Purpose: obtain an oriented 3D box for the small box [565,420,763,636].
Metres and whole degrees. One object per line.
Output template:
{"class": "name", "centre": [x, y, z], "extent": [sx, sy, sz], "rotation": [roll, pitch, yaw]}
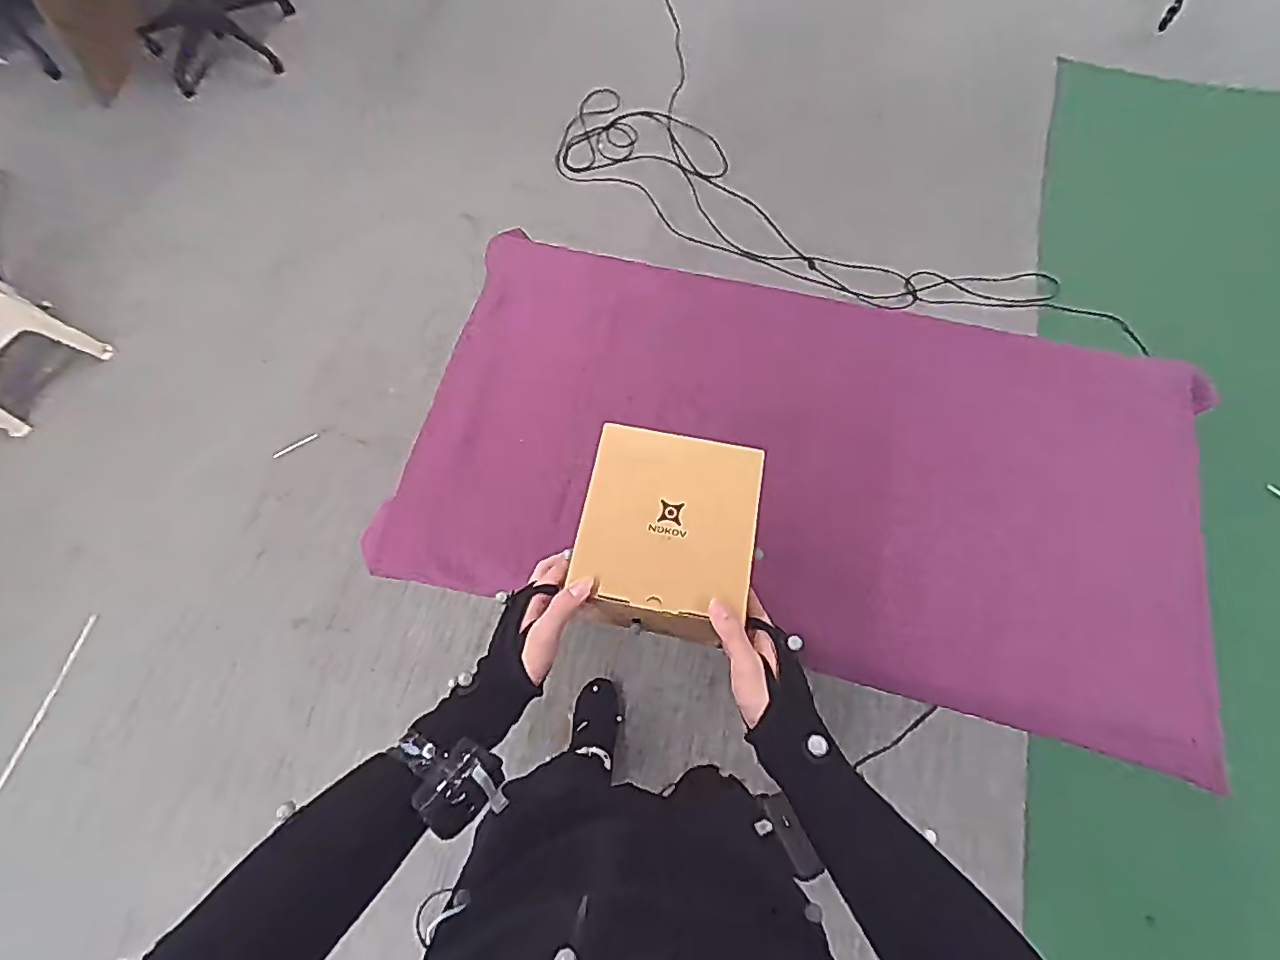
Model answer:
{"class": "small box", "centre": [0.024, 0.062, 0.589], "extent": [0.168, 0.176, 0.179], "rotation": [11, 70, 3]}
